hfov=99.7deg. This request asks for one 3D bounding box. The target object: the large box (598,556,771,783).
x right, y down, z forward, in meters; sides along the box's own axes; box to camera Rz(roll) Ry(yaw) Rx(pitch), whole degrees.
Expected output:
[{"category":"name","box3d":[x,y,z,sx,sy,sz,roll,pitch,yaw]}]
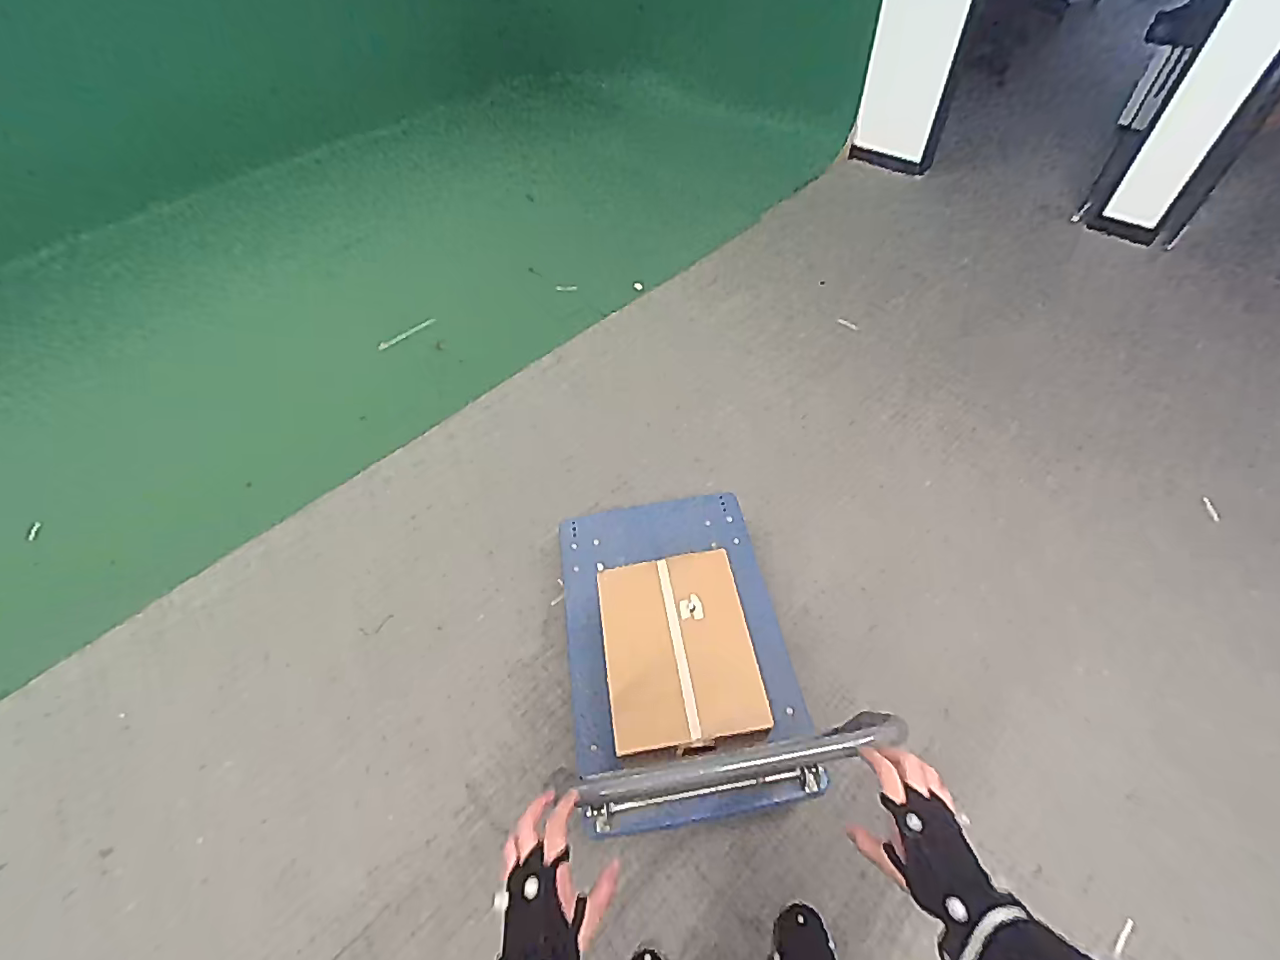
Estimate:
[{"category":"large box","box3d":[0.093,0.452,1.293,0.320,0.320,0.408,-9,51,-1]}]
